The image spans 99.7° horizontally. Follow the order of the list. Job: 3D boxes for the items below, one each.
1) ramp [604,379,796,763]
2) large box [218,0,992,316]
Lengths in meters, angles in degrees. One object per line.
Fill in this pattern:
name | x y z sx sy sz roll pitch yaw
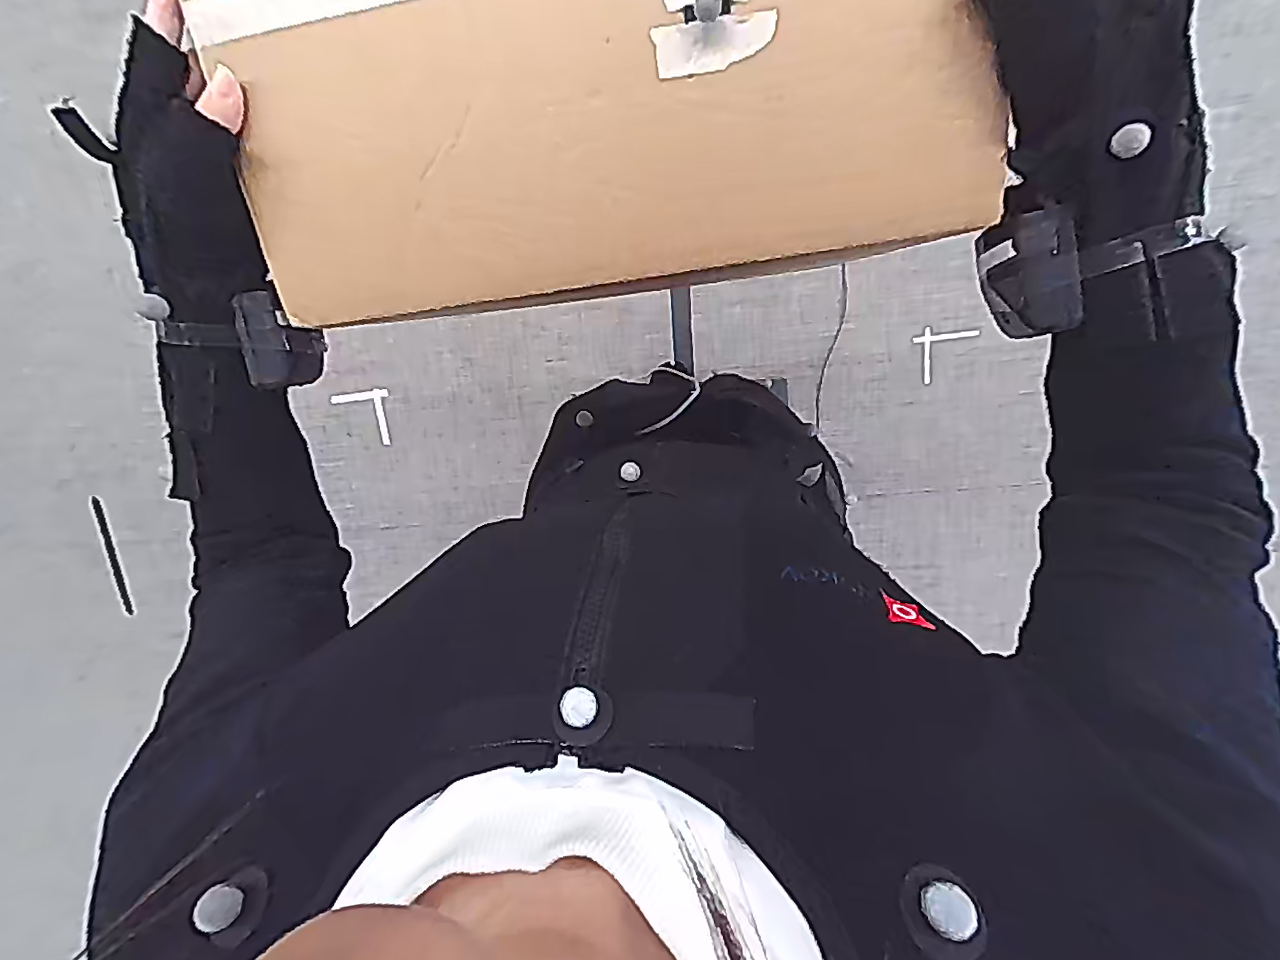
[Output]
ramp | 0.152 0.243 1.428 0.509 0.206 0.991 -3 101 8
large box | -0.020 -0.317 0.409 0.408 0.320 0.320 -6 109 8
